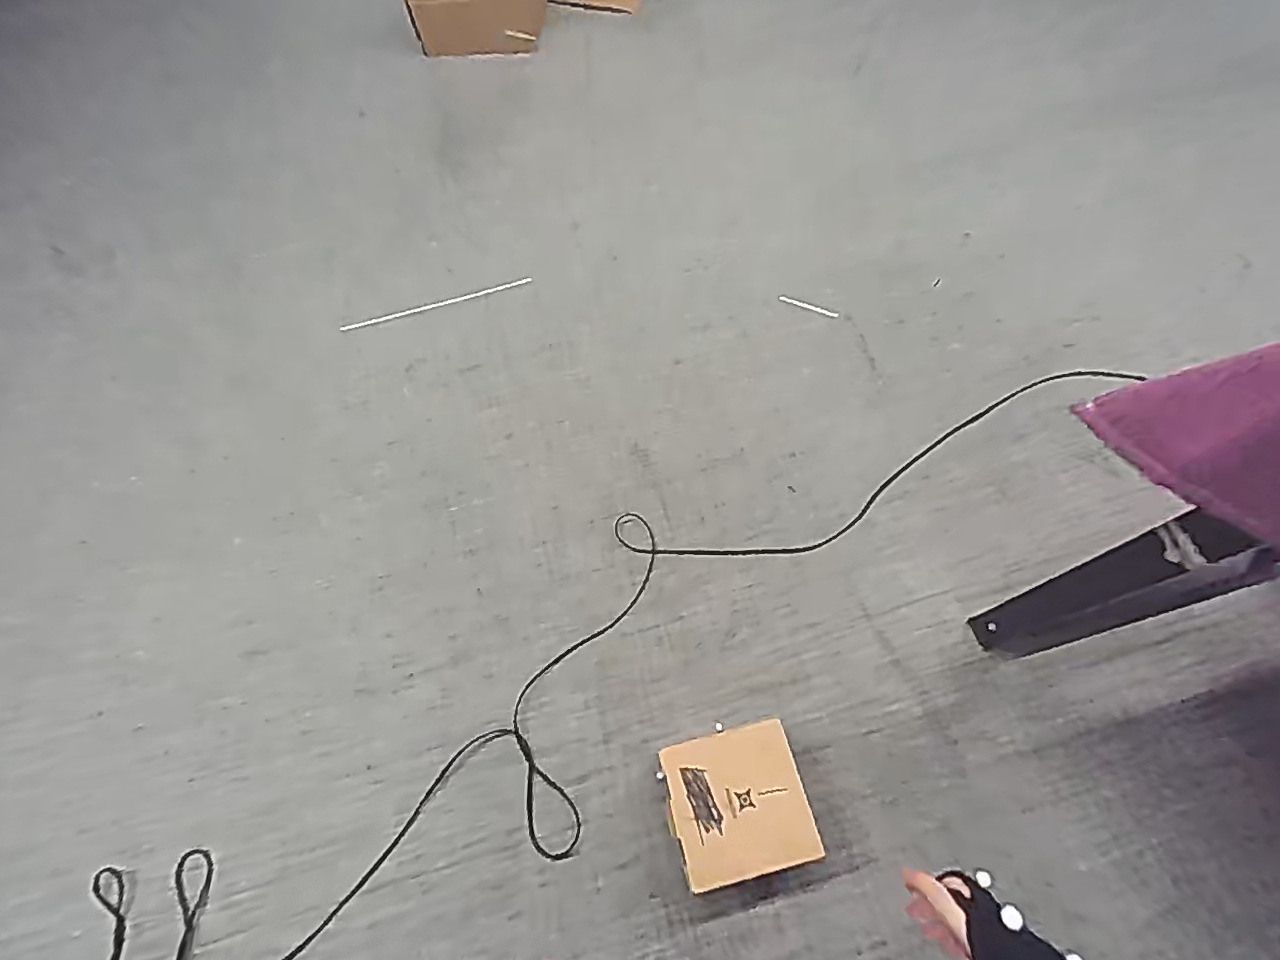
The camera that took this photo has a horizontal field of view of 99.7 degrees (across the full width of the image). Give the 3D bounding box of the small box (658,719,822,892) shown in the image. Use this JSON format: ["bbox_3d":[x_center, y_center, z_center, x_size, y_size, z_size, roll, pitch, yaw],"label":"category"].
[{"bbox_3d":[0.131,0.455,0.773,0.179,0.176,0.168,-13,63,-4],"label":"small box"}]
